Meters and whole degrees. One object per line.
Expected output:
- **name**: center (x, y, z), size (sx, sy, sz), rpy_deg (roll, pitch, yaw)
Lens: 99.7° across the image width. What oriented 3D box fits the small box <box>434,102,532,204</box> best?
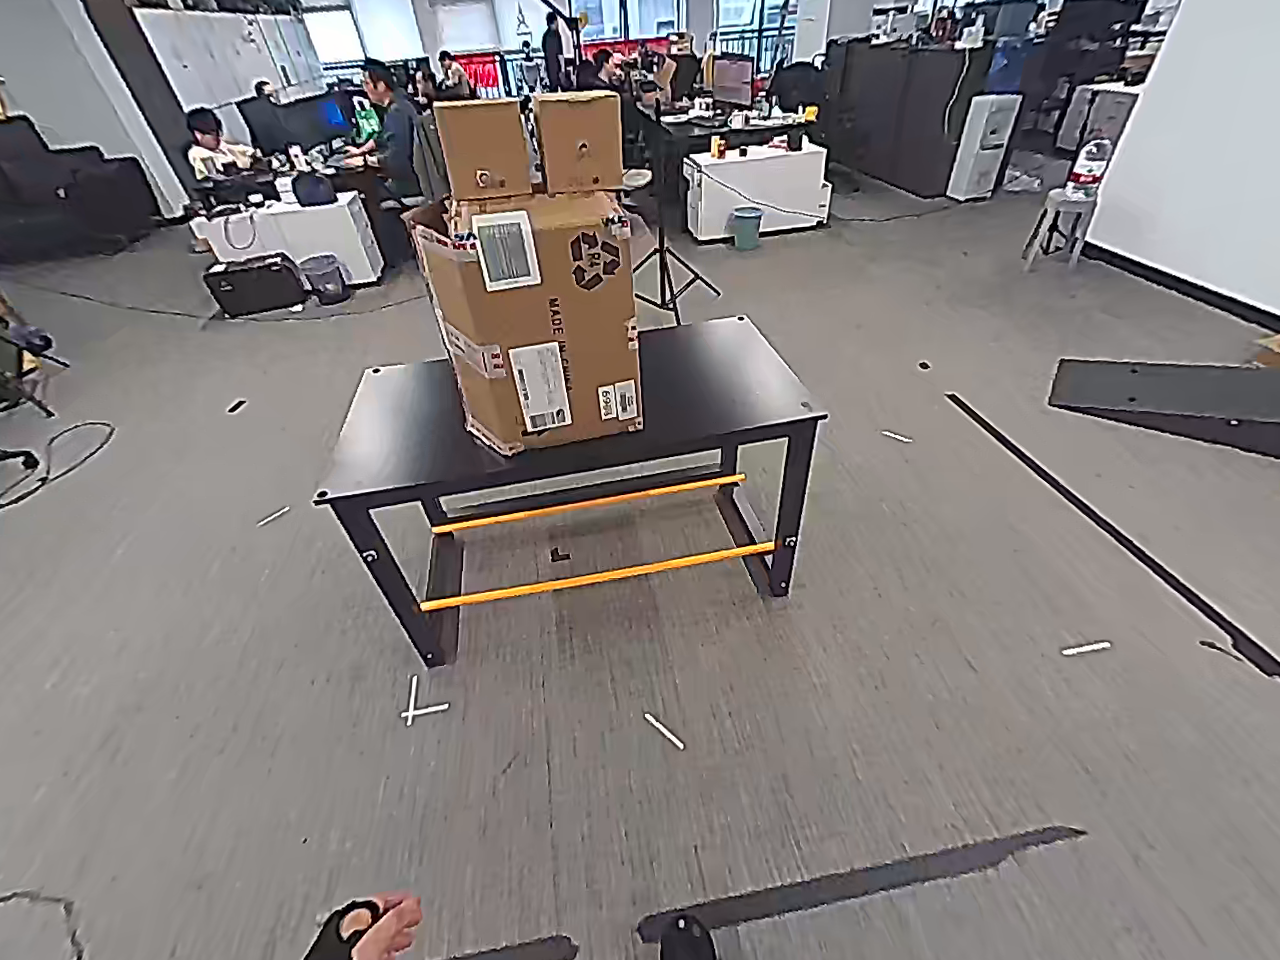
- **small box**: center (-0.336, -0.702, 1.161), size (0.168, 0.176, 0.179), rpy_deg (-14, 40, -11)
